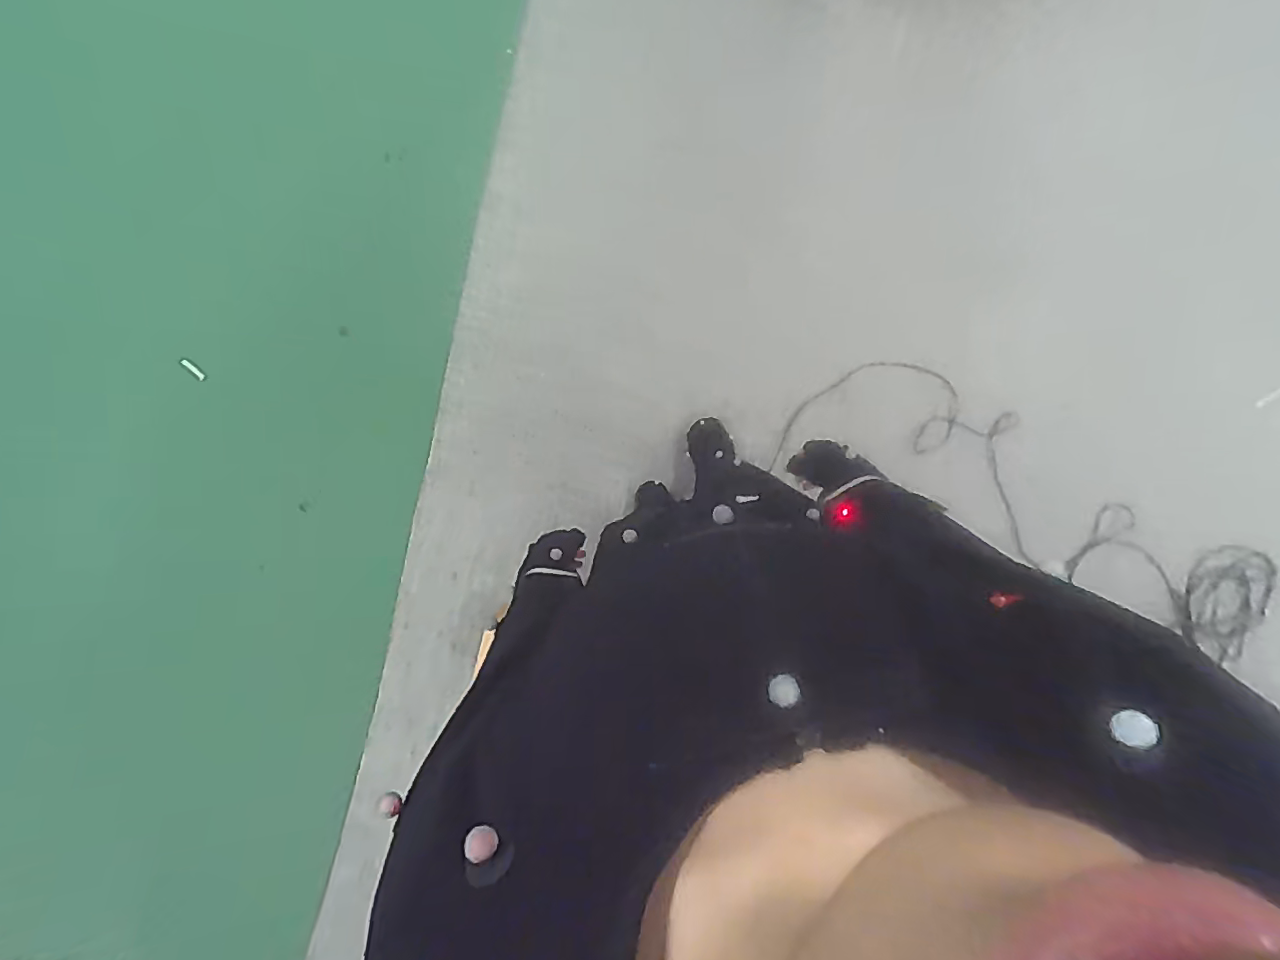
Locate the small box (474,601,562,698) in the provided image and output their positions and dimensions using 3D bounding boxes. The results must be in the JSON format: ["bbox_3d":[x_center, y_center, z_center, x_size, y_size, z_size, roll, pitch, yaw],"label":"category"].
[{"bbox_3d":[-0.312,0.437,1.420,0.168,0.176,0.179,14,90,1],"label":"small box"}]
